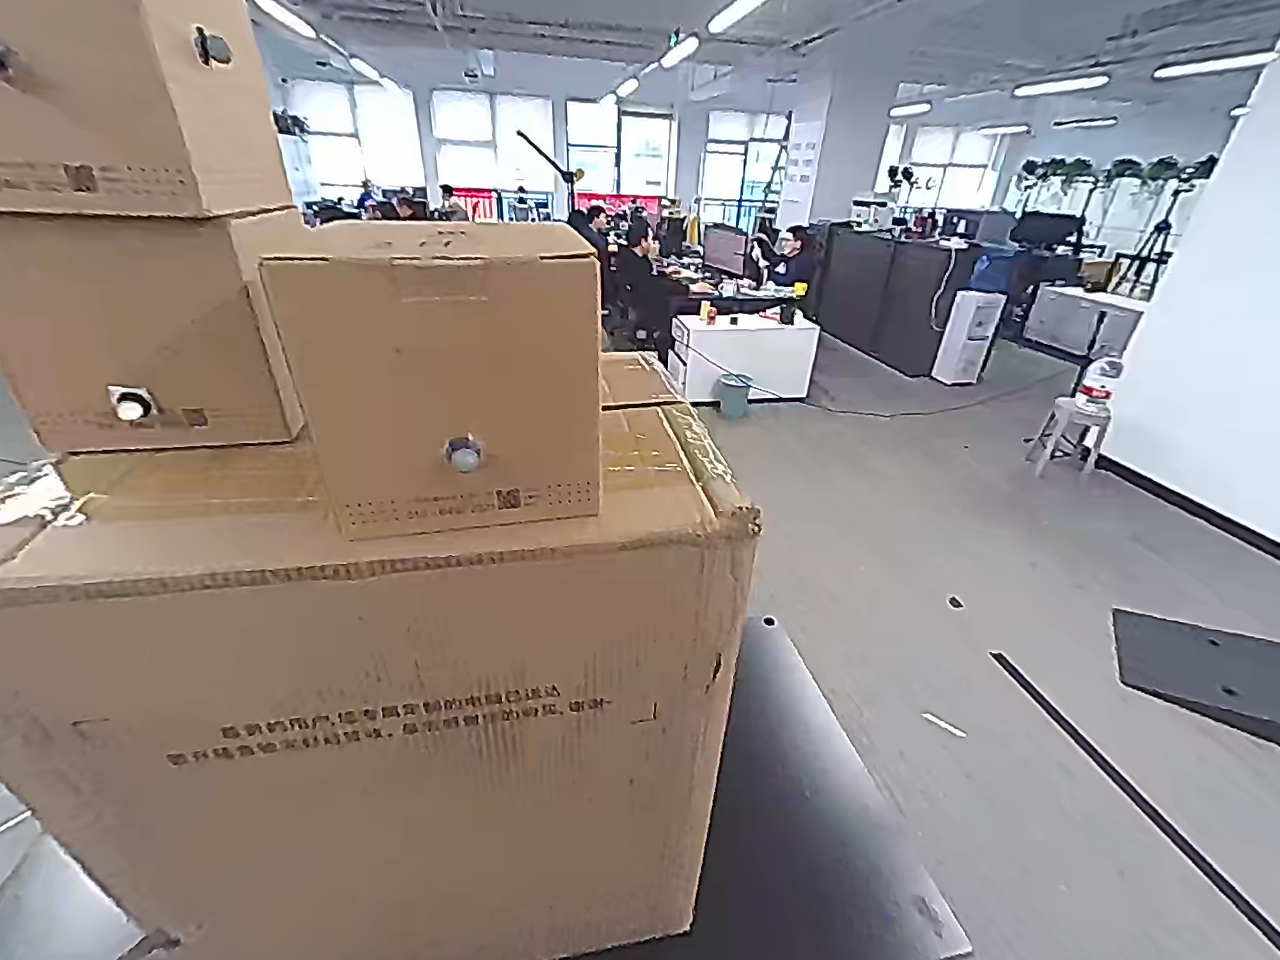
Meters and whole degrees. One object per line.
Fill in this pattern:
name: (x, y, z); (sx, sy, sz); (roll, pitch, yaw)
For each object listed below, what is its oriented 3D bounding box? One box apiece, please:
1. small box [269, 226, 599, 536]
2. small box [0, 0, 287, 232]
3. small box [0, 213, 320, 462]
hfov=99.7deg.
small box: (-0.123, -0.081, 0.388); (0.168, 0.176, 0.179); (-6, 31, -12)
small box: (-0.369, -0.265, 0.363); (0.168, 0.176, 0.179); (-5, 30, -13)
small box: (-0.376, -0.129, 0.457); (0.168, 0.176, 0.179); (-6, 31, -14)
